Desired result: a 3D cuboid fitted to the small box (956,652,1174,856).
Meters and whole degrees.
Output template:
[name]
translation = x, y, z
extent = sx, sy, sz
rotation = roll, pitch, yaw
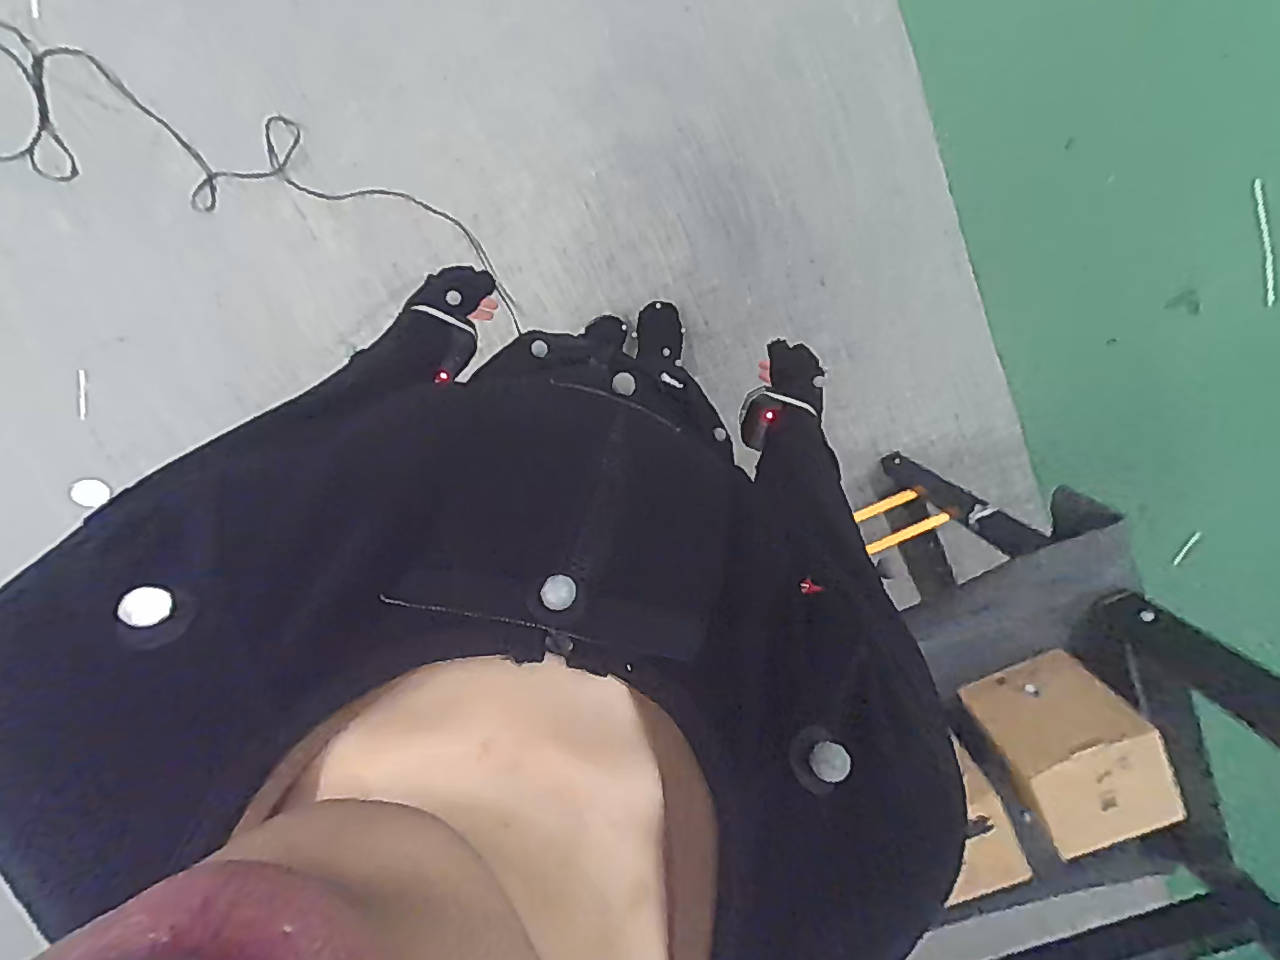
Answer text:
[small box]
translation = 0.607, 0.391, 0.791
extent = 0.168, 0.176, 0.179
rotation = -28, 106, 8
